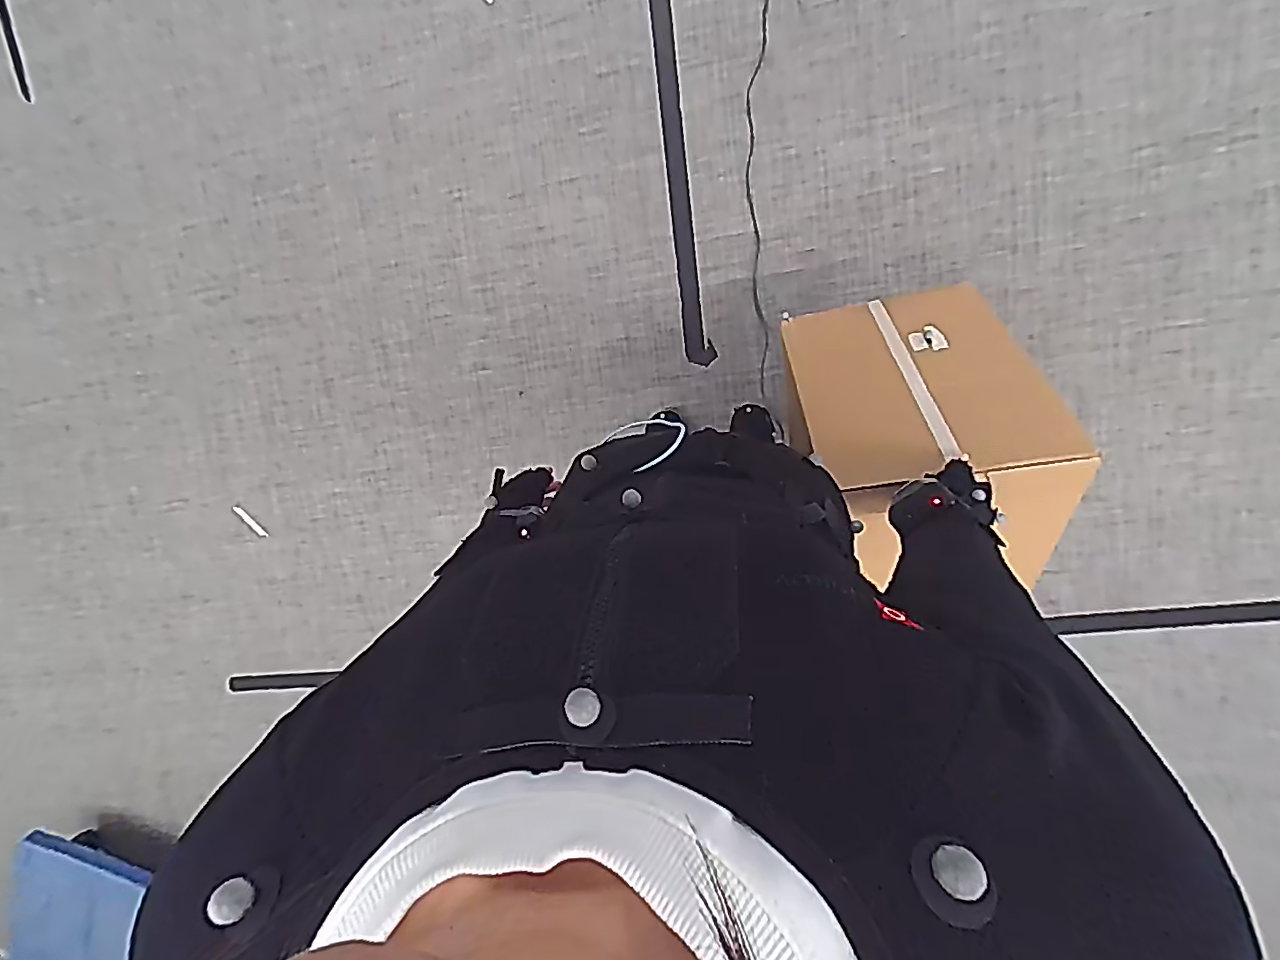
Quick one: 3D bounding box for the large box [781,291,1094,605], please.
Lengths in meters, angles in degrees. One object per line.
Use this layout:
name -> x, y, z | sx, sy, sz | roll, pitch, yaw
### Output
large box -> 0.436, -0.052, 0.910 | 0.320, 0.408, 0.320 | -8, 136, 10
